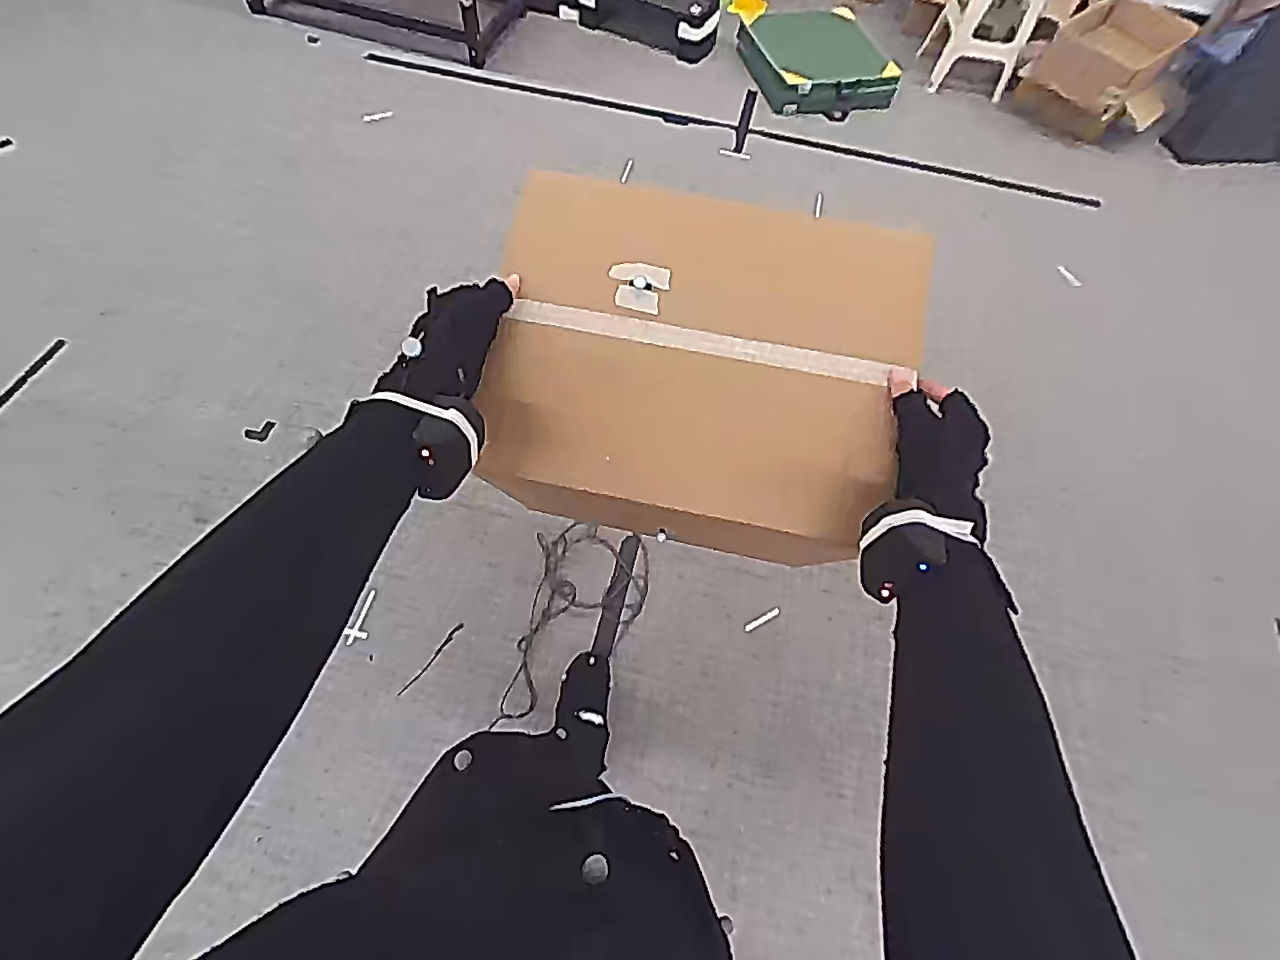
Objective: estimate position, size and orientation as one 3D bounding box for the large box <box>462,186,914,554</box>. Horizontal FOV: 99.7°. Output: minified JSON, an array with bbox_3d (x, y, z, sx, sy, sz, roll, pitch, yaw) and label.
[{"bbox_3d":[0.060,-0.100,0.673,0.408,0.320,0.320,12,78,5],"label":"large box"}]
